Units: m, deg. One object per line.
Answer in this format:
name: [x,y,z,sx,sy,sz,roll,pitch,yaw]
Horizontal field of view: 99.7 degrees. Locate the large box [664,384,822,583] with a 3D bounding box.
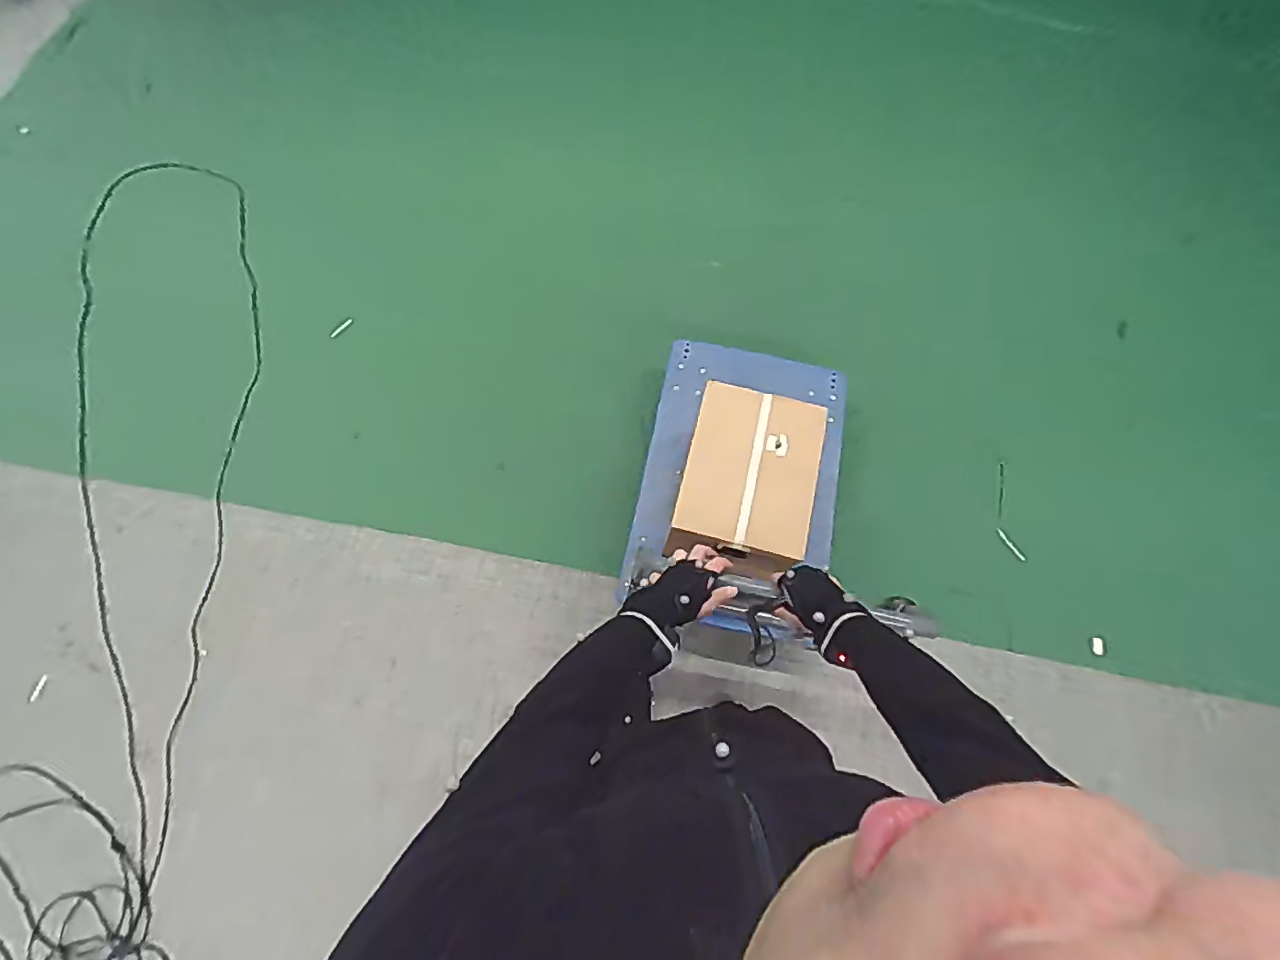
large box: [0.260,0.023,1.436,0.320,0.320,0.408,15,70,3]
